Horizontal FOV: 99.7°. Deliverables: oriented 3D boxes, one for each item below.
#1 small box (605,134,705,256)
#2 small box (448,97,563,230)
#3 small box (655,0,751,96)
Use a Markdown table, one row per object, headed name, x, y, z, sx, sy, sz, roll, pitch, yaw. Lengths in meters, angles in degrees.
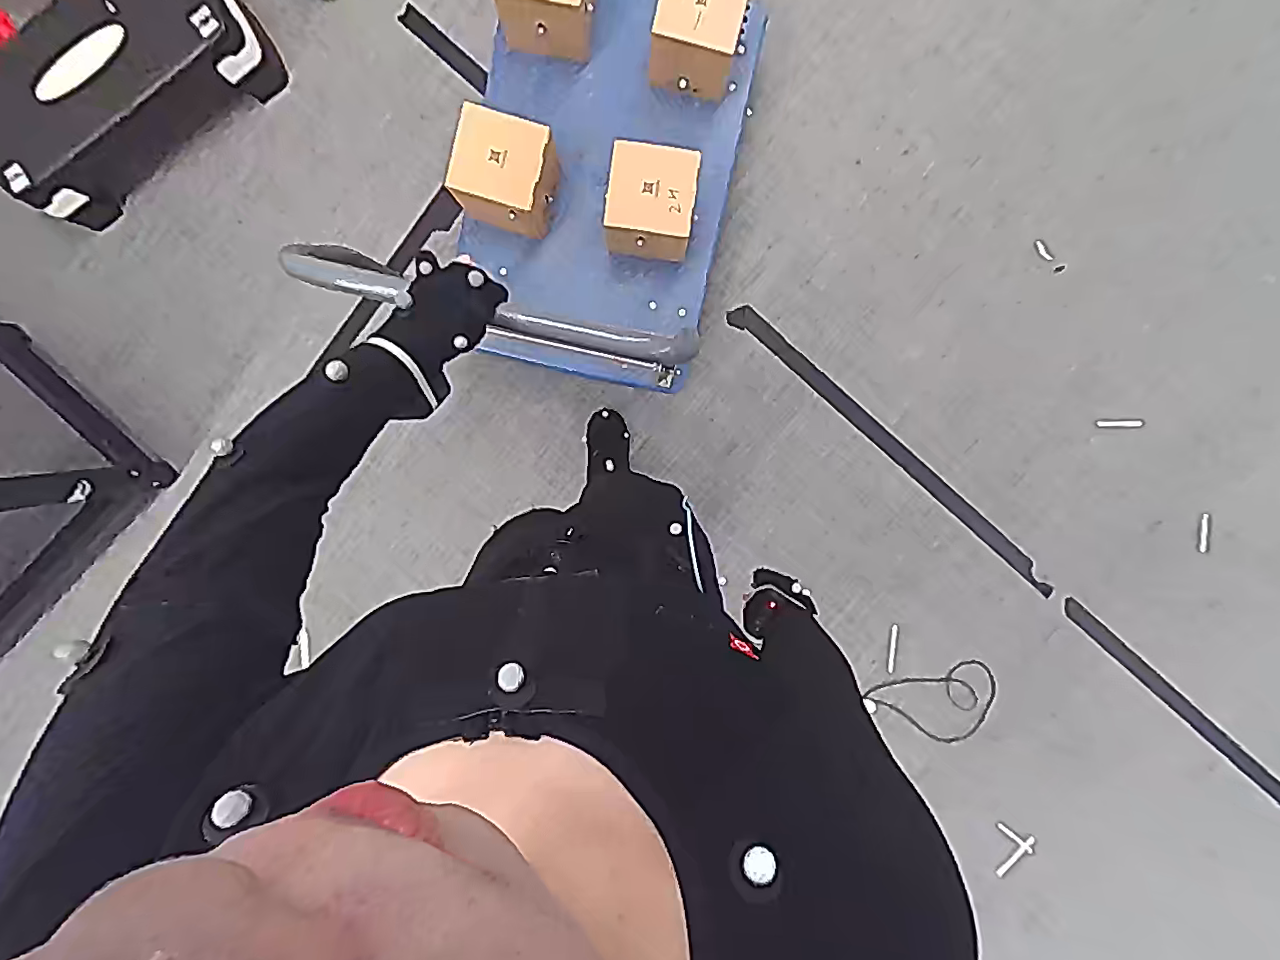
| name | x | y | z | sx | sy | sz | roll | pitch | yaw |
| --- | --- | --- | --- | --- | --- | --- | --- | --- | --- |
| small box | 0.030 | -0.588 | 1.138 | 0.179 | 0.176 | 0.168 | 9 | 97 | -1 |
| small box | -0.273 | -0.649 | 1.133 | 0.179 | 0.176 | 0.168 | 15 | 96 | -3 |
| small box | 0.128 | -0.935 | 1.098 | 0.168 | 0.176 | 0.179 | 14 | 98 | -2 |
